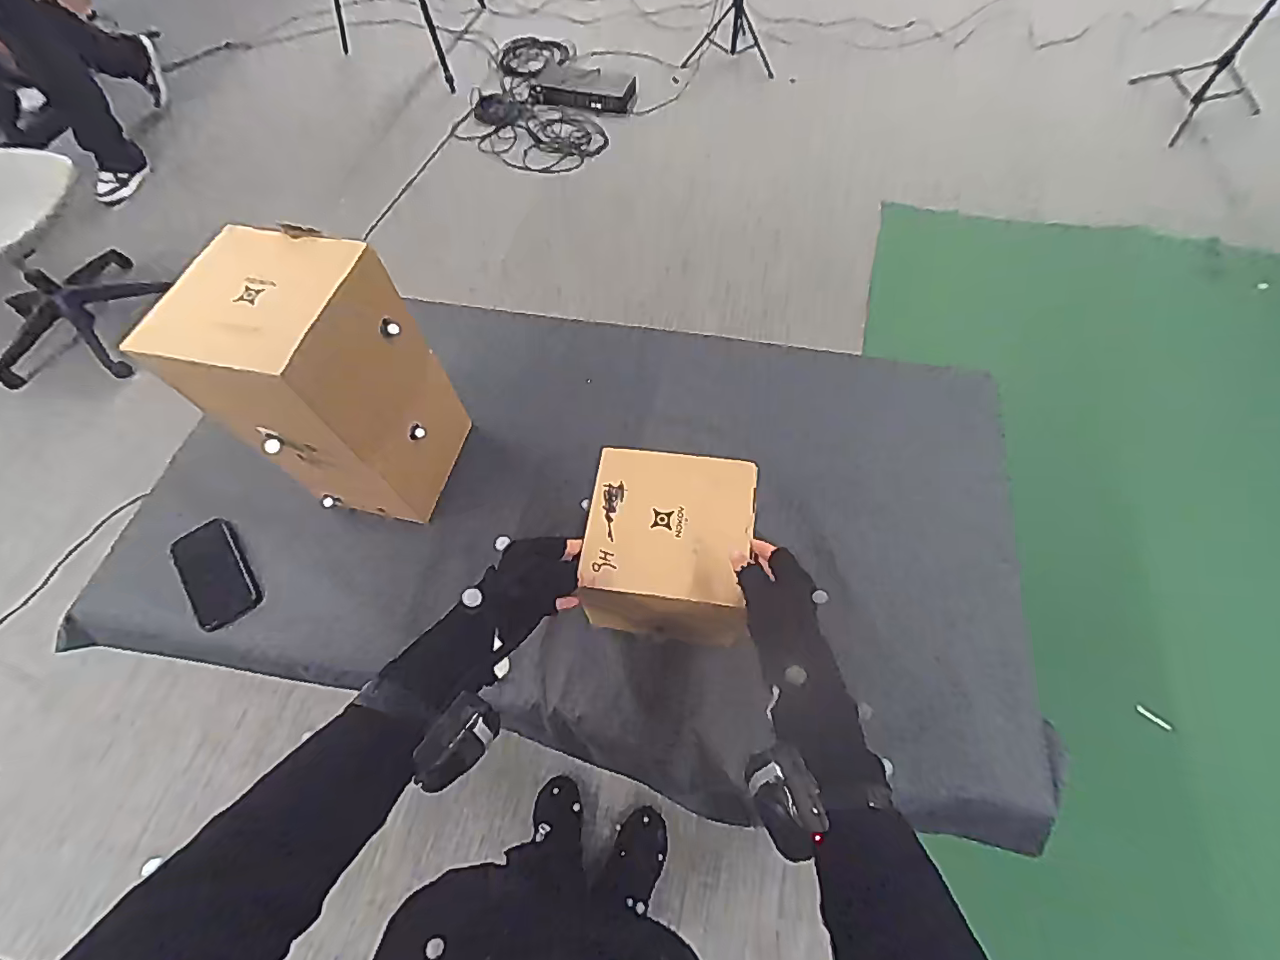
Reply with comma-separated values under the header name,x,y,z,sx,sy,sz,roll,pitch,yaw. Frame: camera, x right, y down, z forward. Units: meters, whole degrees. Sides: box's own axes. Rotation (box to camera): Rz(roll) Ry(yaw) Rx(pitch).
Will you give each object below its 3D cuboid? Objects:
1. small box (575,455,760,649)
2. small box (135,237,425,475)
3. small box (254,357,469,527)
name,x,y,z,sx,sy,sz,roll,pitch,yaw
small box,0.035,0.092,0.635,0.179,0.176,0.168,7,61,6
small box,-0.362,-0.129,0.590,0.168,0.176,0.179,9,63,8
small box,-0.356,-0.056,0.734,0.168,0.176,0.179,11,61,8
